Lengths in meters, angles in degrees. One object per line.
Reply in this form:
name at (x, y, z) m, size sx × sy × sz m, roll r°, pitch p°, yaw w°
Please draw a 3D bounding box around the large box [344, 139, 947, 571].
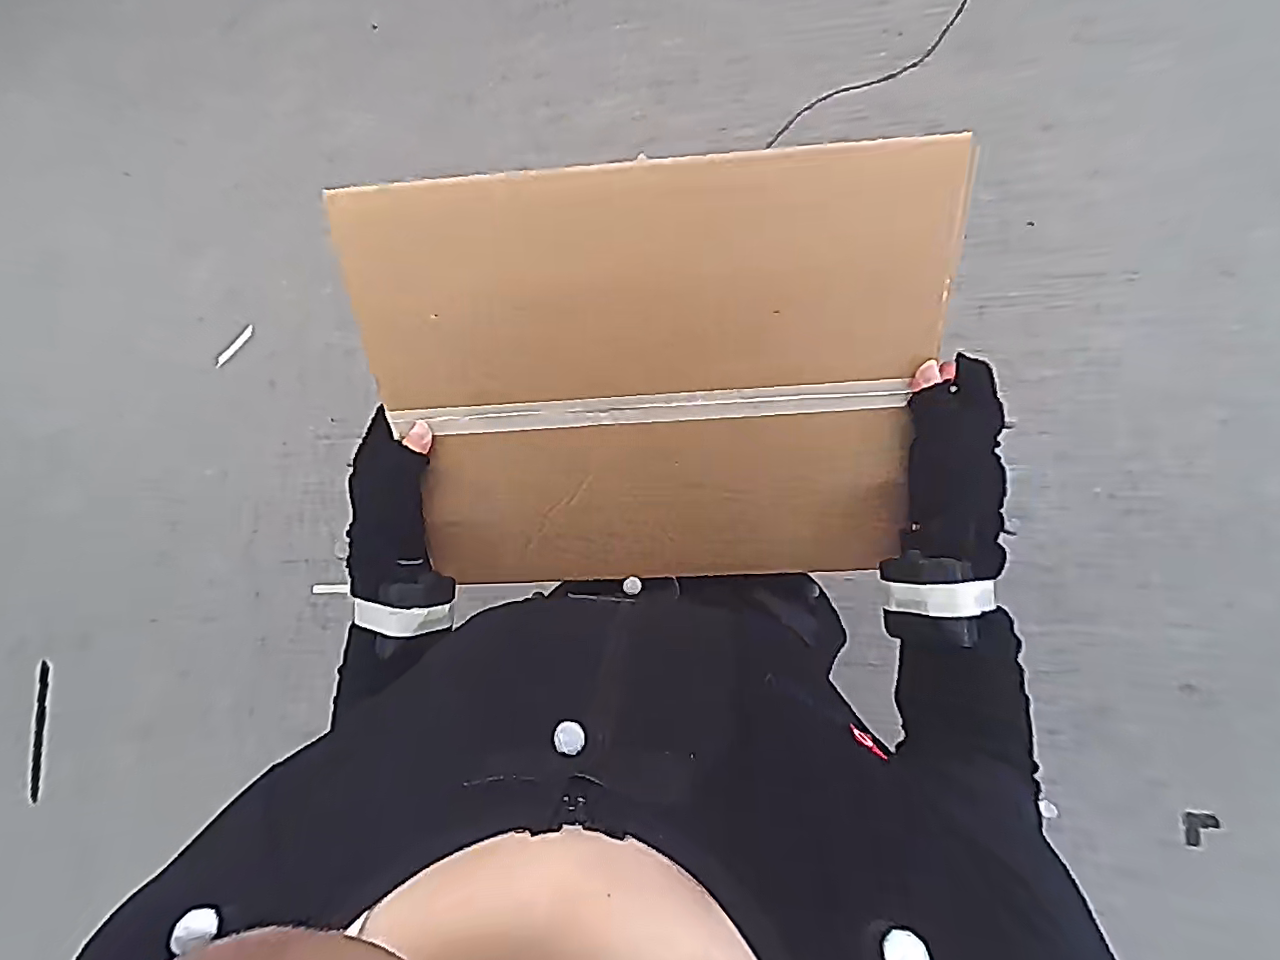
large box at (0.016, -0.132, 0.548) m, size 0.408 × 0.320 × 0.320 m, roll -3°, pitch 117°, yaw 4°
